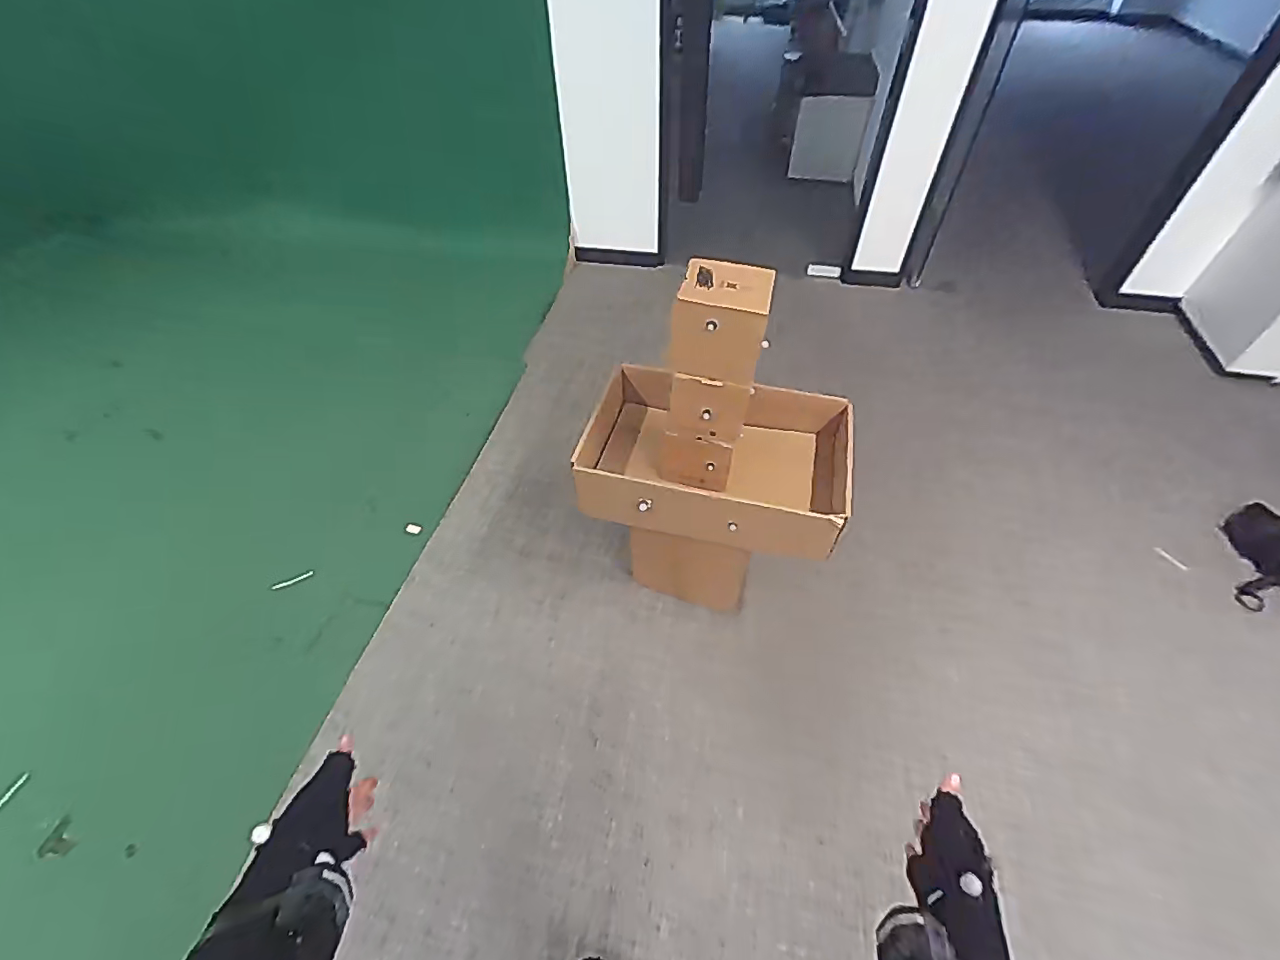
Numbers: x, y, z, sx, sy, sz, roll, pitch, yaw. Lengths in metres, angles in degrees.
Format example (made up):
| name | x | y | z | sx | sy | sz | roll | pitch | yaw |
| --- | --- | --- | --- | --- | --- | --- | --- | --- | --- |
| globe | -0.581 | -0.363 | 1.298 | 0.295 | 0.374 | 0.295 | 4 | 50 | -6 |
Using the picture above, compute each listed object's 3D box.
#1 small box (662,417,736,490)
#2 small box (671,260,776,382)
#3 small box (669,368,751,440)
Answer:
| name | x | y | z | sx | sy | sz | roll | pitch | yaw |
| --- | --- | --- | --- | --- | --- | --- | --- | --- | --- |
| small box | 0.154 | -0.101 | 1.348 | 0.168 | 0.176 | 0.179 | 13 | 48 | 8 |
| small box | 0.166 | -0.322 | 1.105 | 0.179 | 0.176 | 0.168 | 13 | 50 | 7 |
| small box | 0.163 | -0.212 | 1.228 | 0.168 | 0.176 | 0.179 | 11 | 51 | 6 |
